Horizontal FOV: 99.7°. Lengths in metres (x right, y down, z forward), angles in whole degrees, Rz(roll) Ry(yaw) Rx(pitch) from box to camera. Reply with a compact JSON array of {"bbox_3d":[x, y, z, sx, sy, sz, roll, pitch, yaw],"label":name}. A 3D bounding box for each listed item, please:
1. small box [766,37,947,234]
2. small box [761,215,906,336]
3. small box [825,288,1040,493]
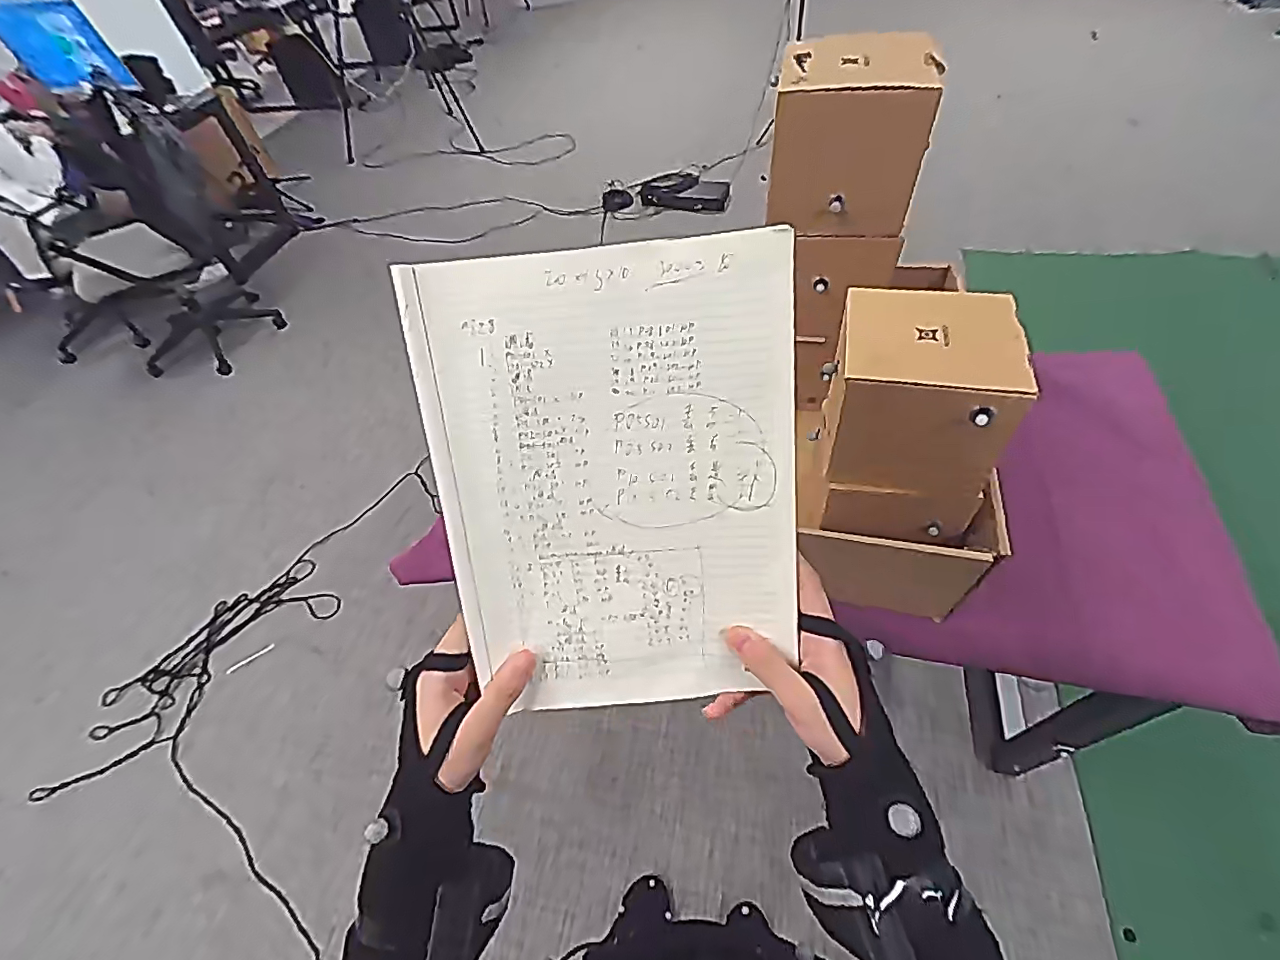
[{"bbox_3d":[0.267,-0.439,0.698,0.179,0.176,0.168,8,54,12],"label":"small box"},{"bbox_3d":[0.285,-0.337,0.826,0.179,0.176,0.168,6,54,12],"label":"small box"},{"bbox_3d":[0.319,-0.103,0.632,0.179,0.176,0.168,8,52,13],"label":"small box"}]
